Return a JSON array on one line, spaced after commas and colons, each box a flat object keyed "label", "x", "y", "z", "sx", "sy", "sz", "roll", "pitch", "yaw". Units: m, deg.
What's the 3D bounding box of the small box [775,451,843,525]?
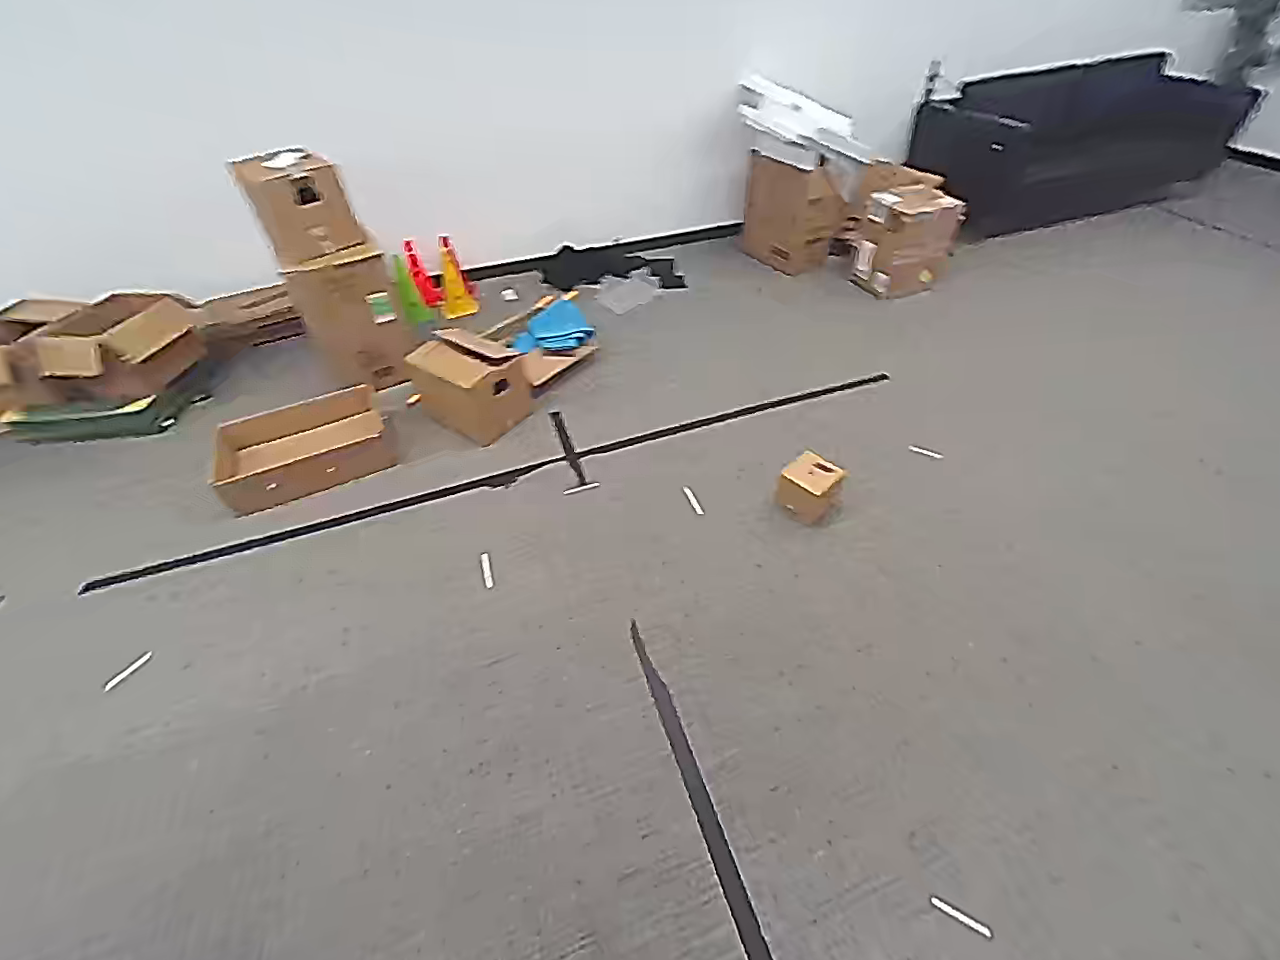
[{"label": "small box", "x": 0.618, "y": 0.031, "z": 2.003, "sx": 0.179, "sy": 0.176, "sz": 0.168, "roll": -34, "pitch": 52, "yaw": -27}]
